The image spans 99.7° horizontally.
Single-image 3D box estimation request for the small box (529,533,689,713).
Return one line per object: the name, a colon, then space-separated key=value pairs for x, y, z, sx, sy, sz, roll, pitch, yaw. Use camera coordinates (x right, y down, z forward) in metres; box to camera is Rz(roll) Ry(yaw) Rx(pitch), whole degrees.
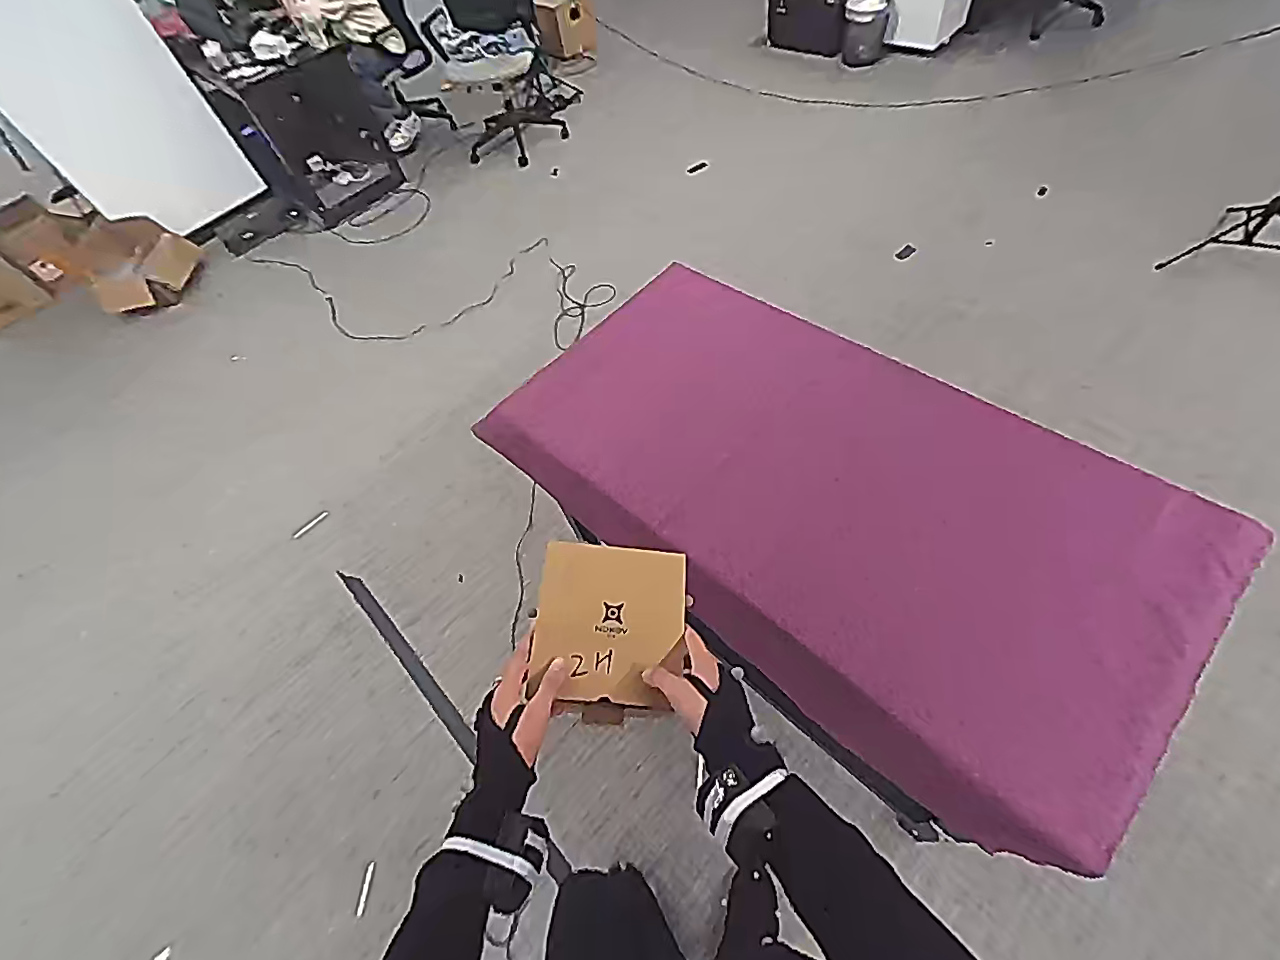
small box: x=-0.039 y=0.185 z=0.677 sx=0.168 sy=0.176 sz=0.179 roll=7 pitch=63 yaw=-3
